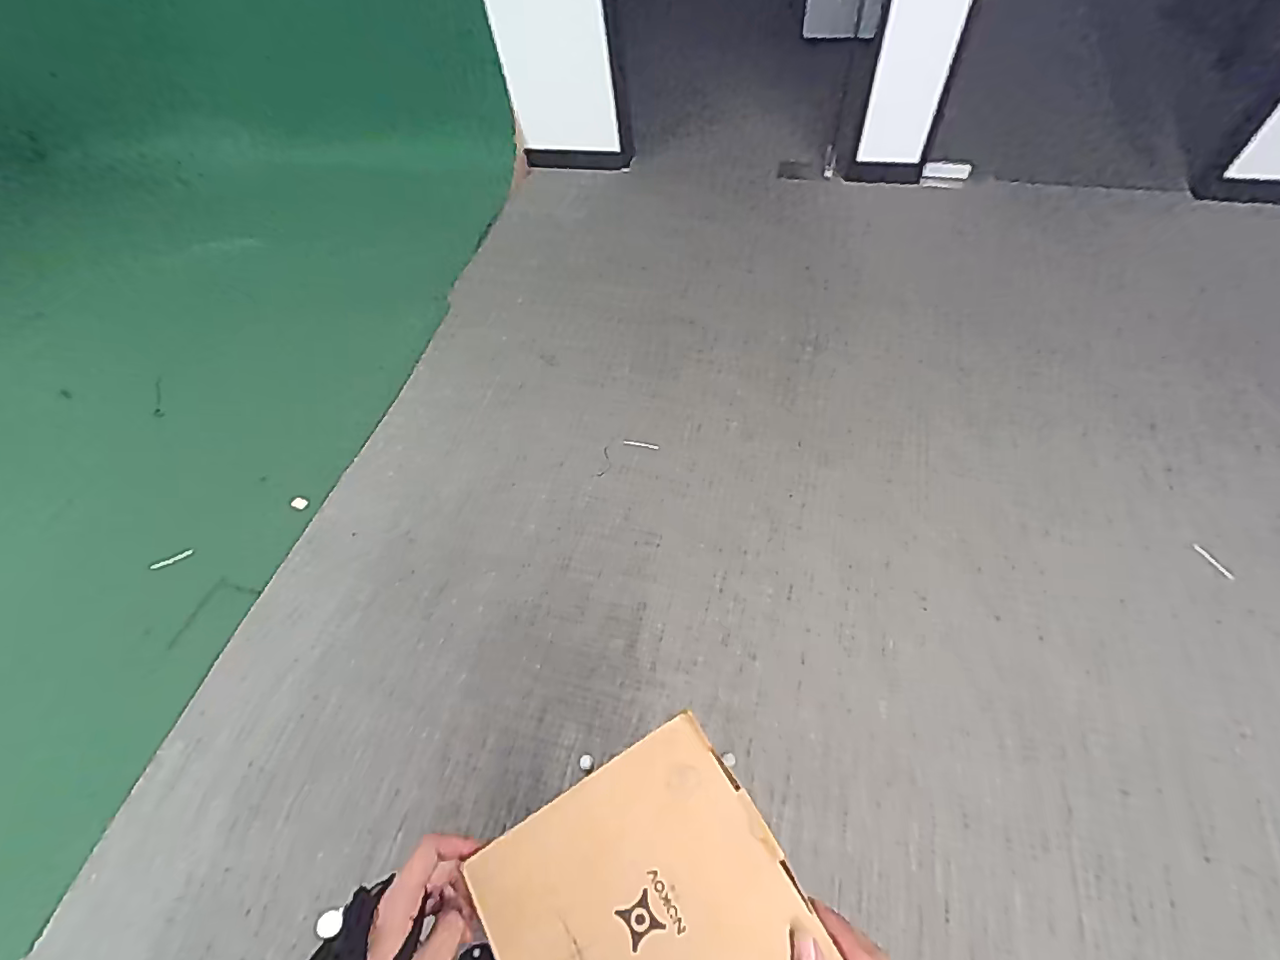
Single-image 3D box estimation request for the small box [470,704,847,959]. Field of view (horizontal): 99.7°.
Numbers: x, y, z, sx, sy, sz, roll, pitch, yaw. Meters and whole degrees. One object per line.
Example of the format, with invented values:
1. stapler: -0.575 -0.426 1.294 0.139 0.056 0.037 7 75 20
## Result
1. small box: 0.010 0.291 0.397 0.179 0.176 0.168 -31 65 -12
